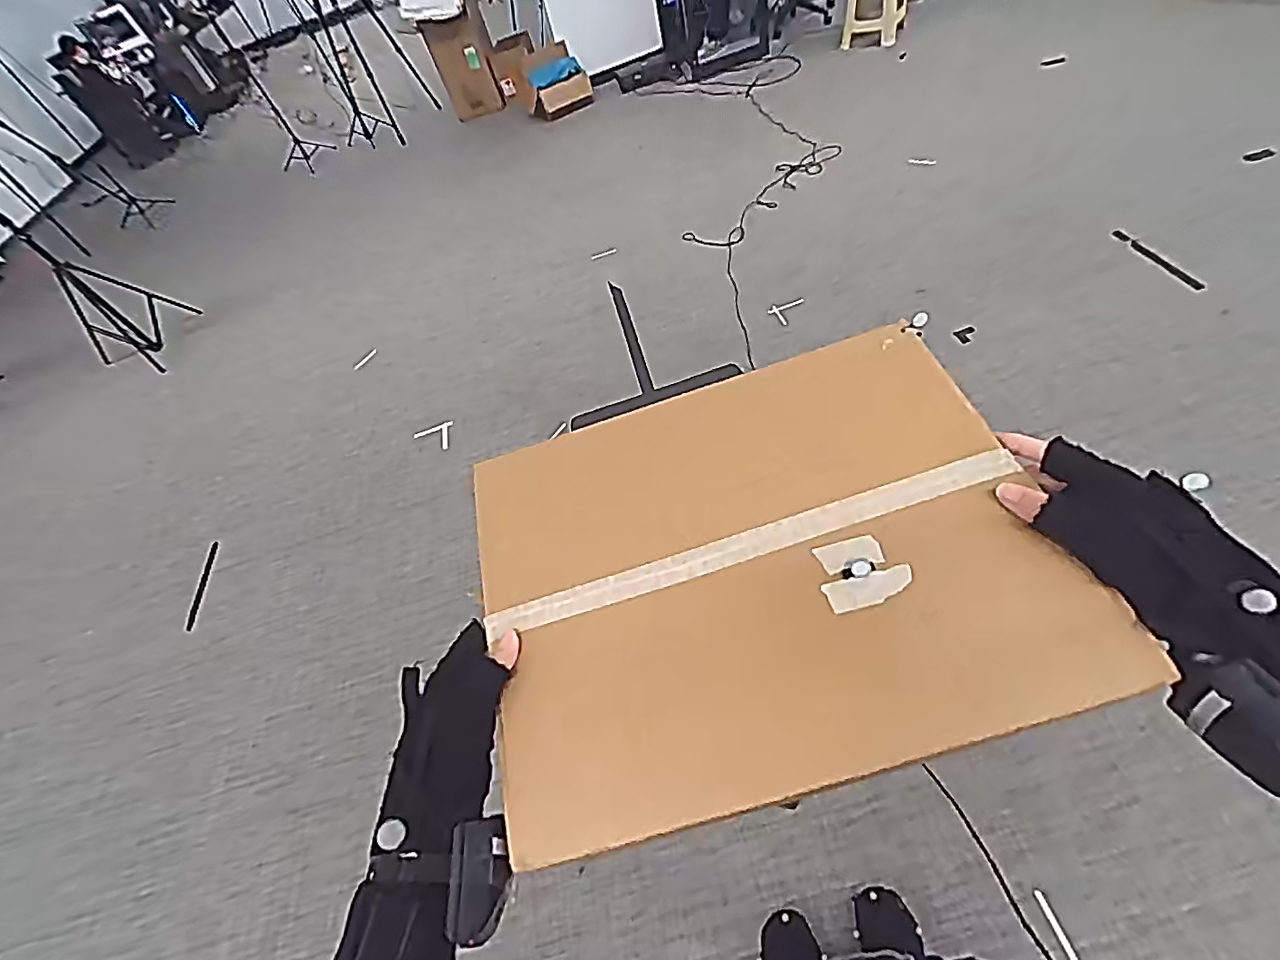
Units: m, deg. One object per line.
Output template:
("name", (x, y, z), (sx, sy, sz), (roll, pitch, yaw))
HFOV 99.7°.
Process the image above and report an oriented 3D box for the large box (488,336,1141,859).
("large box", (0.111, 0.129, 0.539), (0.408, 0.320, 0.320), (-18, 58, 2))
